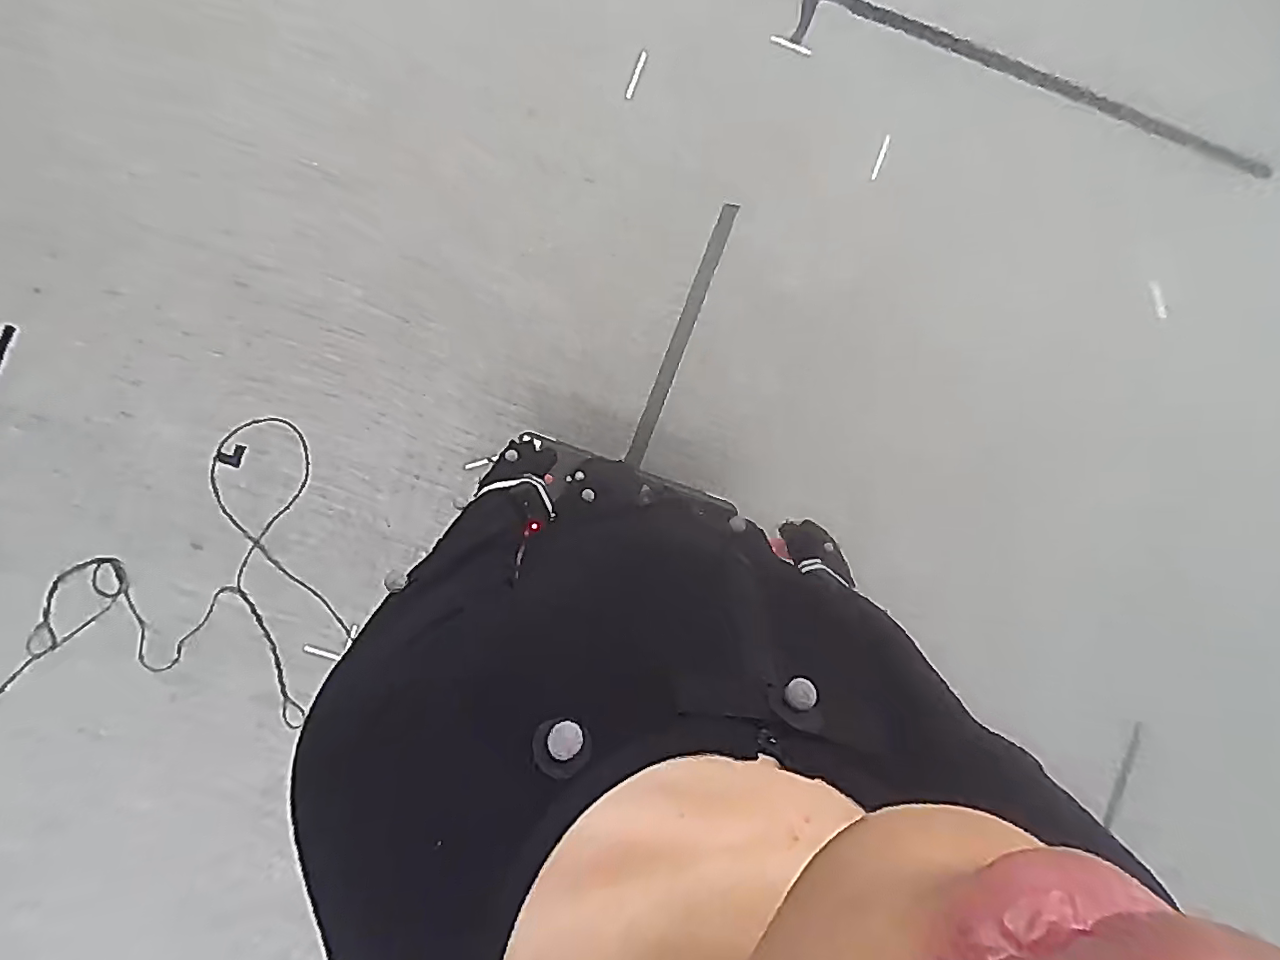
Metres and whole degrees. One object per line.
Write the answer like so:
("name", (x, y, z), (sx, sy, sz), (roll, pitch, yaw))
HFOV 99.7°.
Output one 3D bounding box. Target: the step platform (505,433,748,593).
("step platform", (-0.039, 0.095, 1.576), (0.684, 0.204, 0.286), (19, 90, -4))
